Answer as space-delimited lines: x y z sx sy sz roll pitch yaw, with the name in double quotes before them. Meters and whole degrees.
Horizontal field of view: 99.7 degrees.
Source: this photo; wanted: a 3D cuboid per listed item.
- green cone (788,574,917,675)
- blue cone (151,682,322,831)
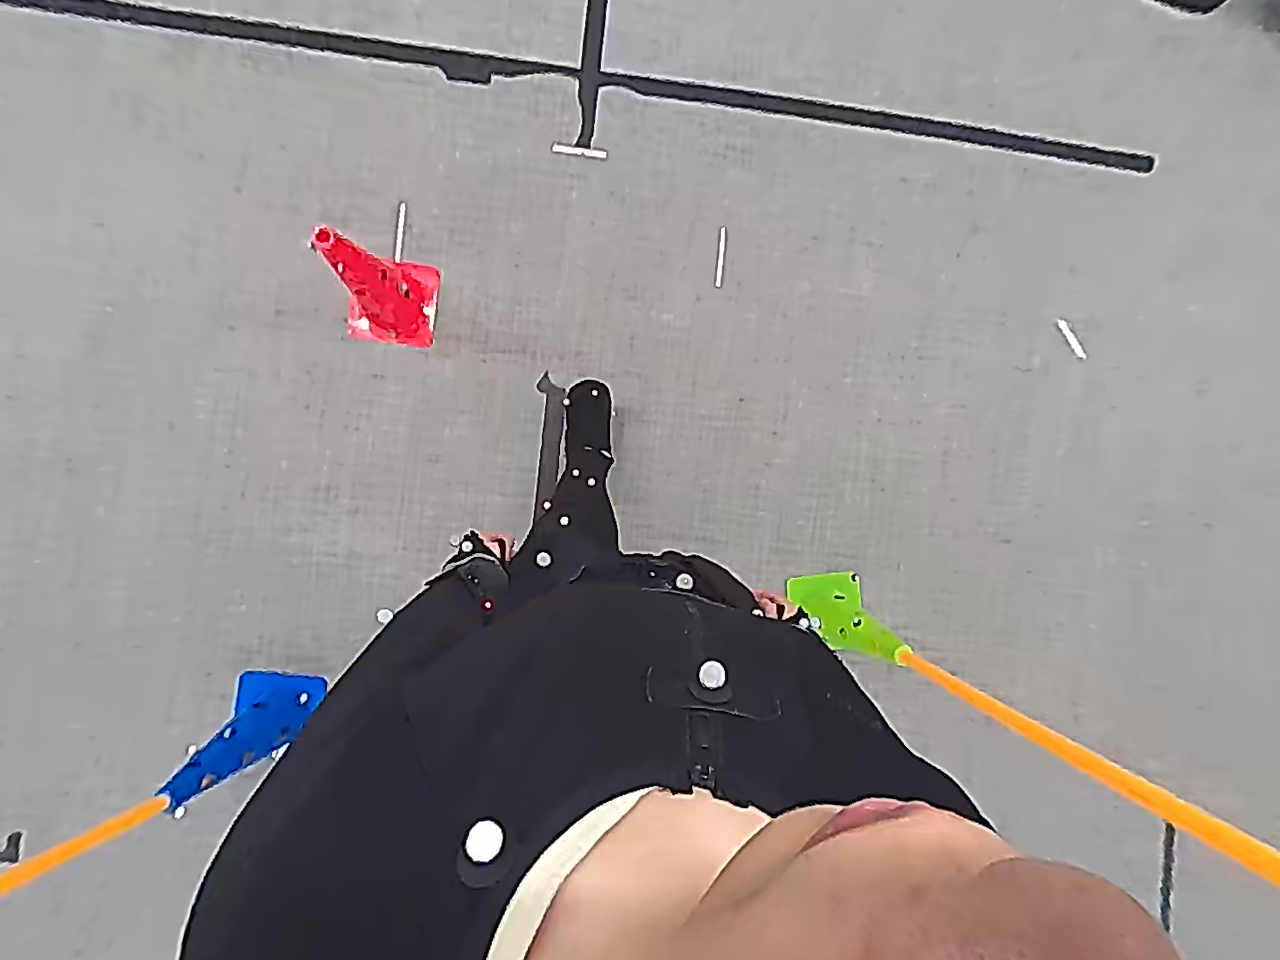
"green cone" 0.504 0.355 1.237 0.200 0.368 0.202 -5 92 -6
"blue cone" -0.838 0.574 1.111 0.193 0.380 0.192 8 89 -5
